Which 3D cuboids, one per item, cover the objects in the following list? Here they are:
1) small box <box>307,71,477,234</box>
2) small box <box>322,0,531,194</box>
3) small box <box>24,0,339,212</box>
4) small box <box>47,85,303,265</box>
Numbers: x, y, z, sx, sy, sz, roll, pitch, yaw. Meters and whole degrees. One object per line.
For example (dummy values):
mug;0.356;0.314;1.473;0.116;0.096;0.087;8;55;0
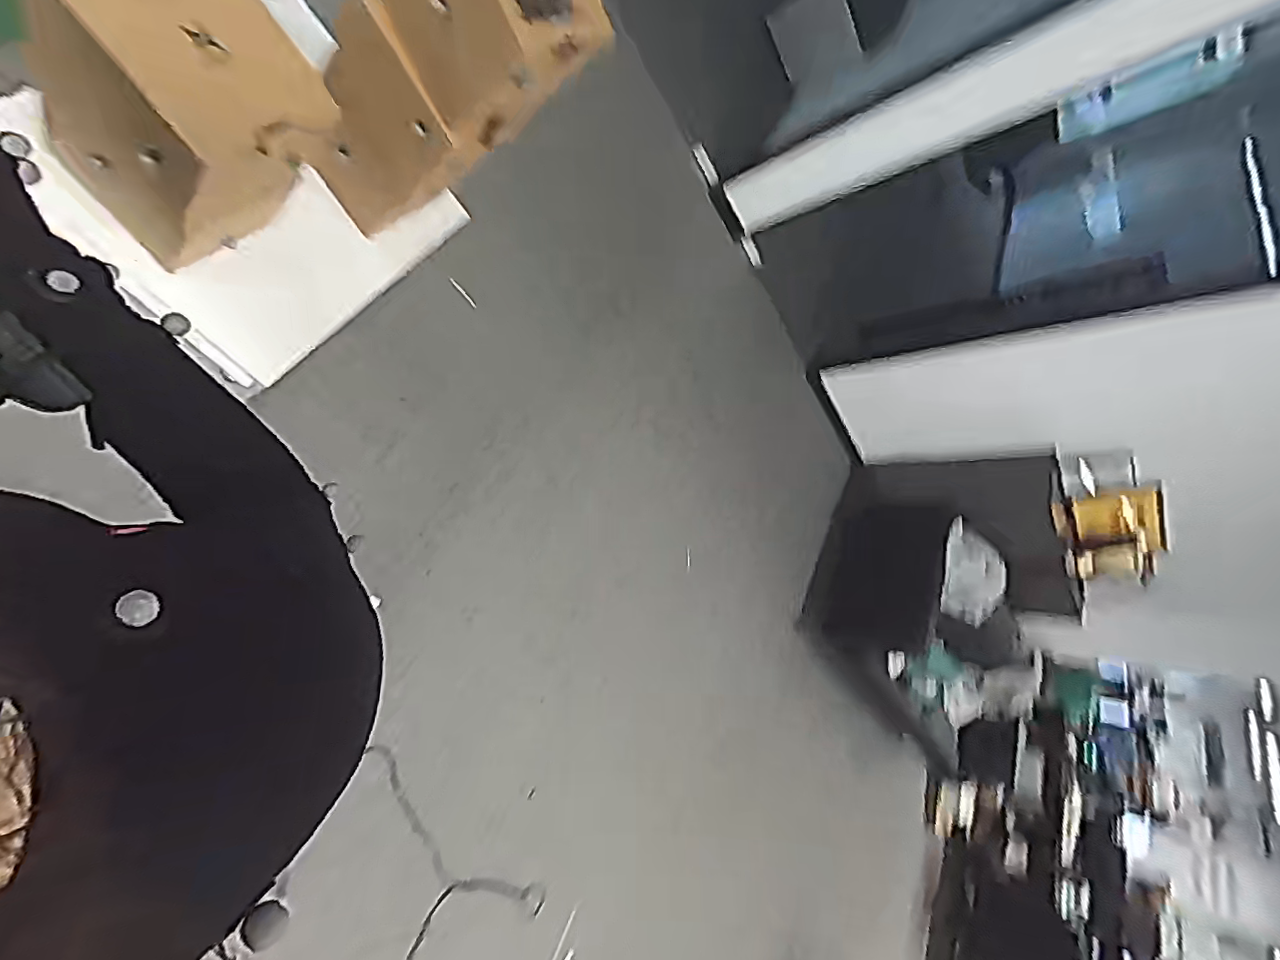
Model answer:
small box;-0.406;-0.530;0.863;0.168;0.176;0.179;-52;123;-34
small box;-0.294;-0.536;0.745;0.168;0.176;0.179;-53;124;-33
small box;-0.466;-0.408;0.562;0.179;0.176;0.168;56;51;-28
small box;-0.580;-0.403;0.678;0.168;0.176;0.179;-54;125;-34
